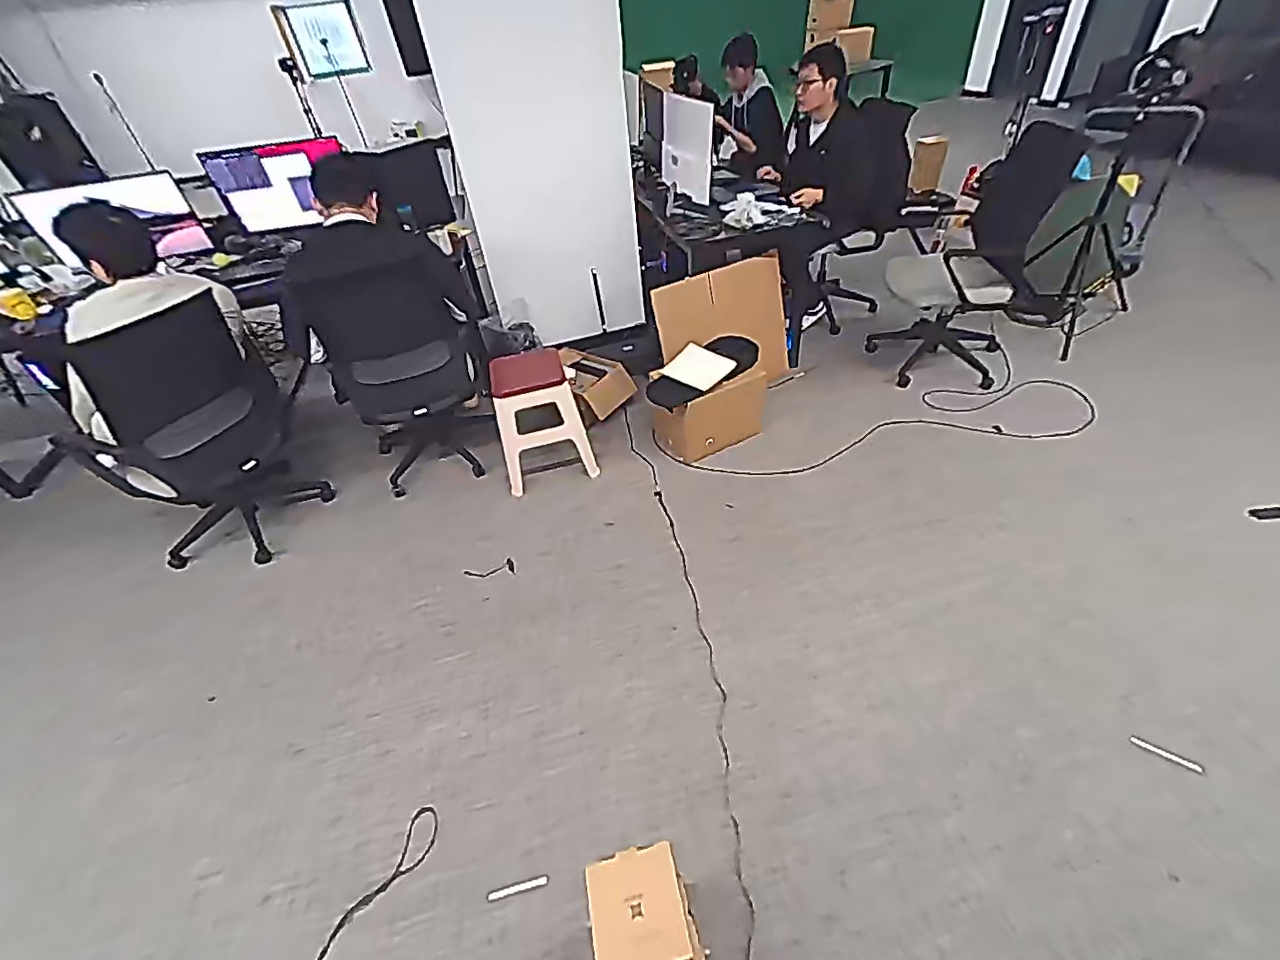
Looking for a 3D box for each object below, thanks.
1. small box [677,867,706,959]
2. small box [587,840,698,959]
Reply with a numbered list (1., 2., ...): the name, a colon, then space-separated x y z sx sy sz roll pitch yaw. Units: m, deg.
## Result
1. small box: 0.029 0.936 1.112 0.179 0.176 0.168 -16 42 -7
2. small box: 0.004 0.814 1.008 0.168 0.176 0.179 -14 43 -5
